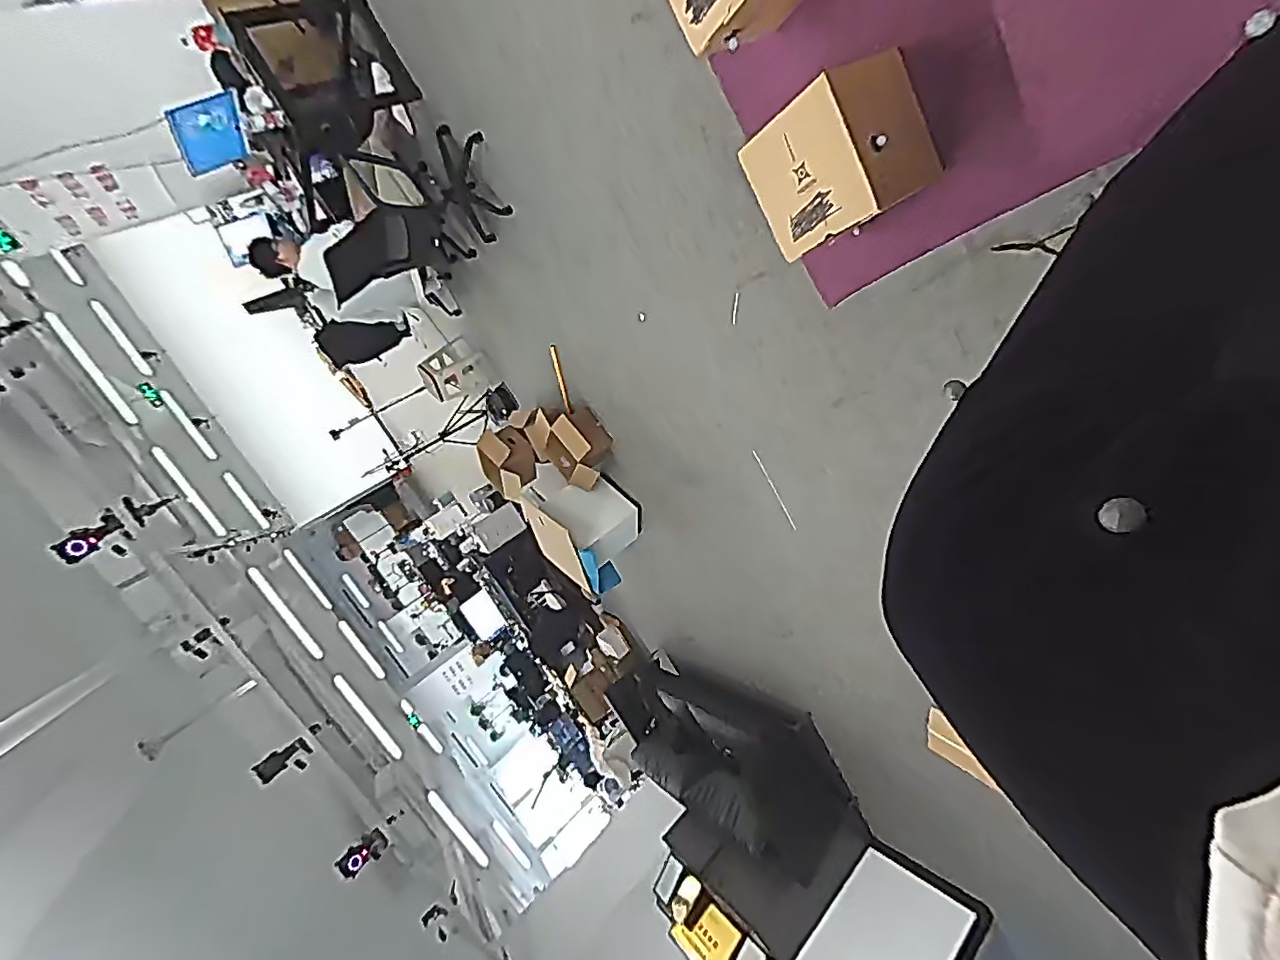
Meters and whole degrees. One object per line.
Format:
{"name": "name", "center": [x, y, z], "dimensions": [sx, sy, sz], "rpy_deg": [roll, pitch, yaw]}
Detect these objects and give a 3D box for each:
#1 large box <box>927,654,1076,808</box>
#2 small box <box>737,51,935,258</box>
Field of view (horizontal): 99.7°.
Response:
{"name": "large box", "center": [1.415, 0.977, 2.146], "dimensions": [0.408, 0.320, 0.320], "rpy_deg": [23, 142, 45]}
{"name": "small box", "center": [0.277, -0.452, 0.760], "dimensions": [0.168, 0.176, 0.179], "rpy_deg": [-7, 115, 61]}
